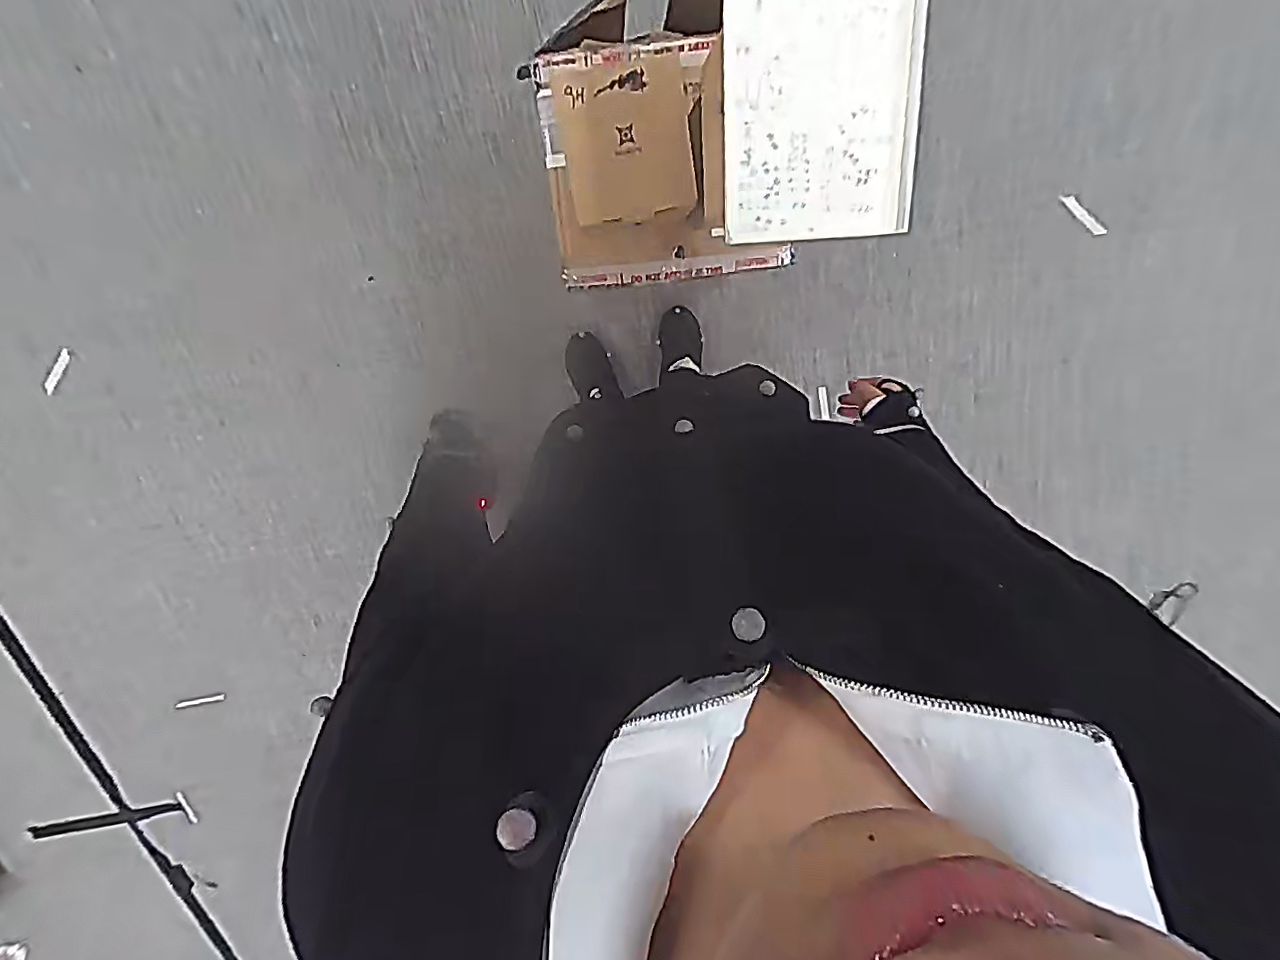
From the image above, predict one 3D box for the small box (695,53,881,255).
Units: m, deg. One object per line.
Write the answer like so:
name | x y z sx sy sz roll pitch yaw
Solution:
small box | 0.163 -0.373 0.648 0.168 0.176 0.179 -6 110 -4
